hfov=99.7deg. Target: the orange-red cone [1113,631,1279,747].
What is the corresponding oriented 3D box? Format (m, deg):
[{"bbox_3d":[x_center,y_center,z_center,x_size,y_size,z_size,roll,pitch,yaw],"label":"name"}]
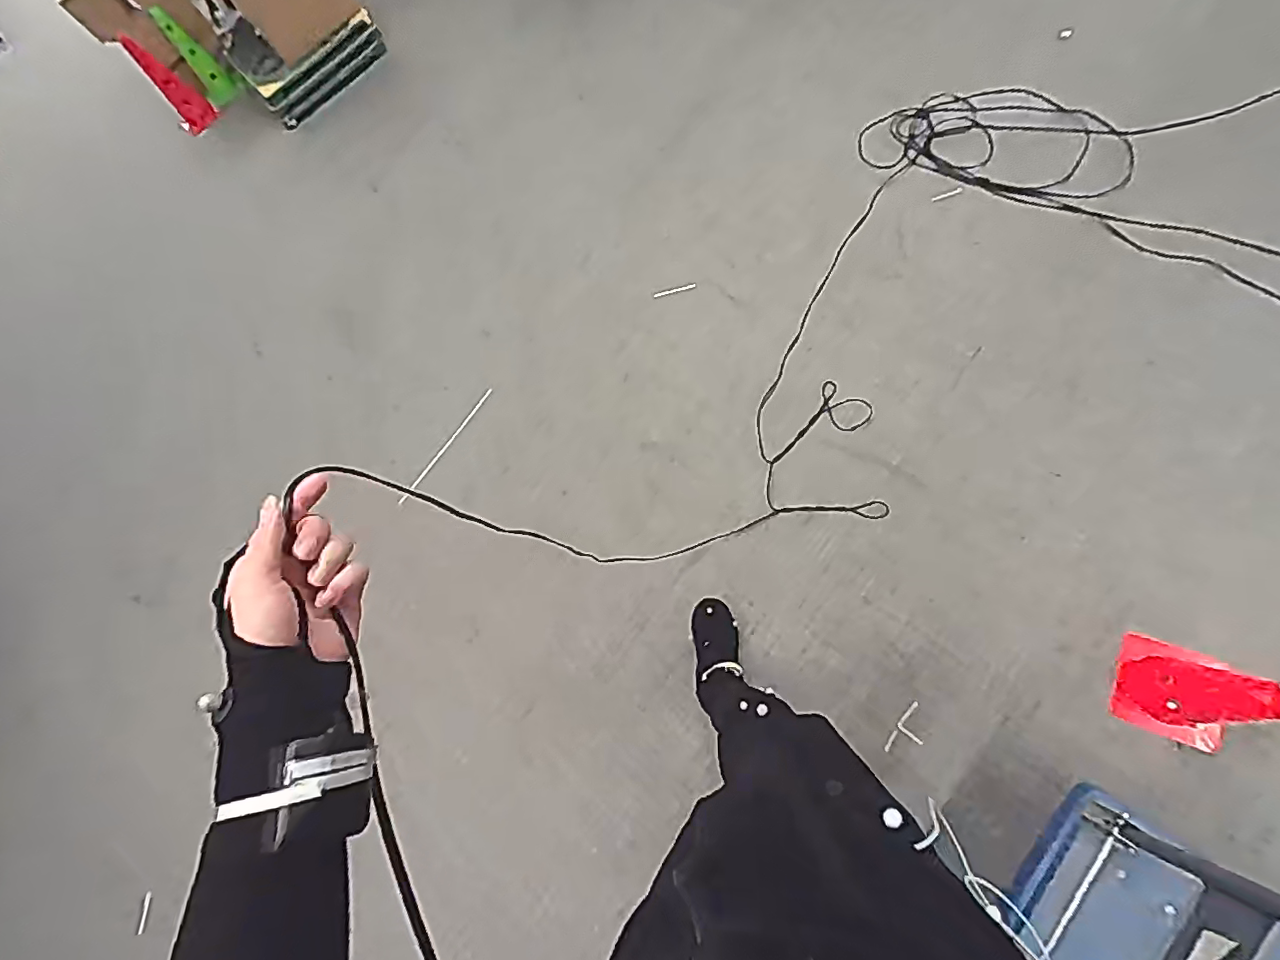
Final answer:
[{"bbox_3d":[1.134,0.403,1.030,0.198,0.360,0.199,20,77,17],"label":"orange-red cone"}]
